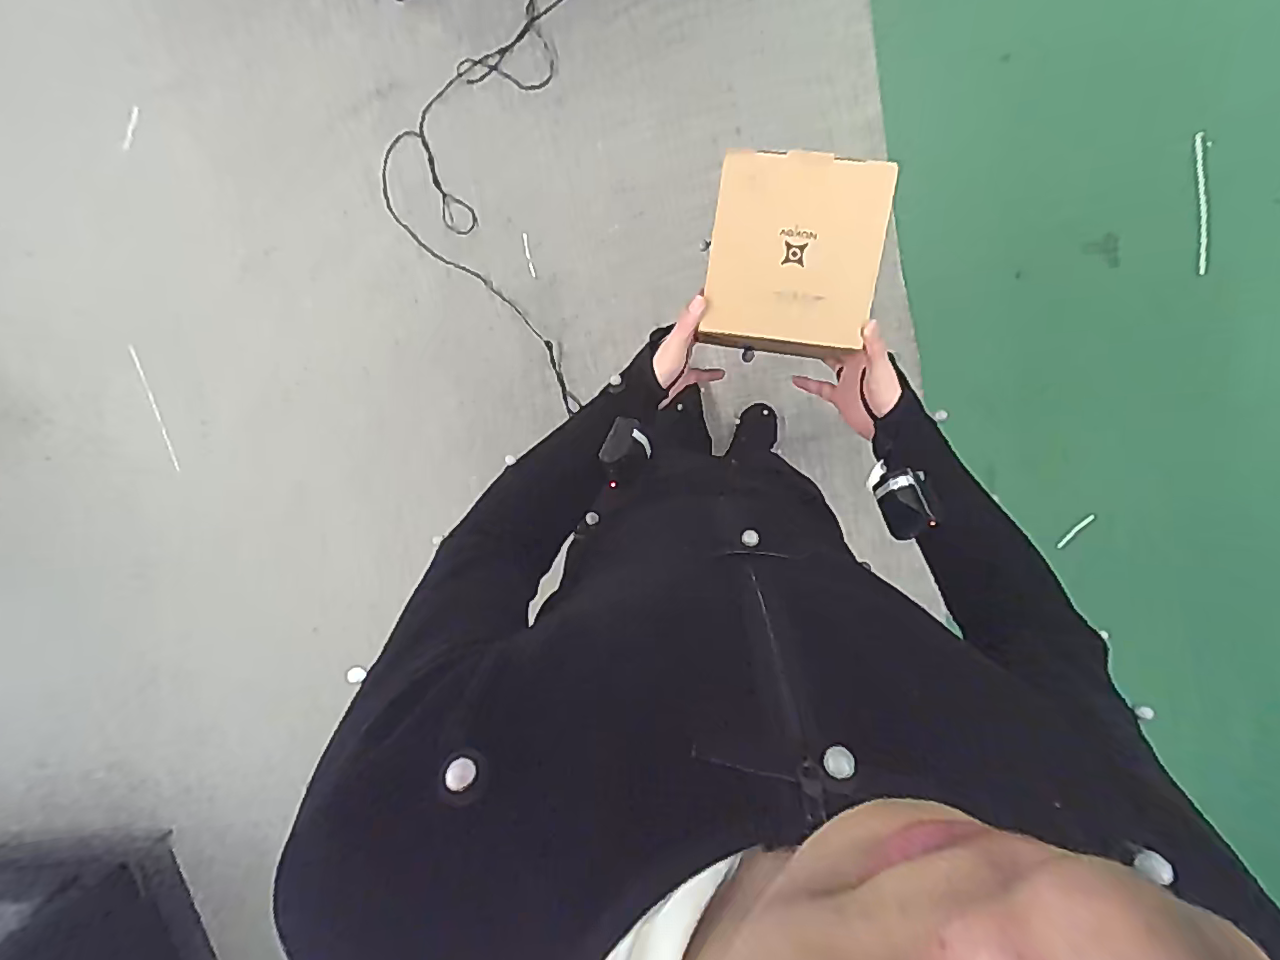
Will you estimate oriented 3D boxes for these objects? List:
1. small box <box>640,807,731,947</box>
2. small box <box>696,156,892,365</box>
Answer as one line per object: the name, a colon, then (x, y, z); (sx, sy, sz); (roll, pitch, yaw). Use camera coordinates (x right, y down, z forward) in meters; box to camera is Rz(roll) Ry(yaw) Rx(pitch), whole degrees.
small box: (0.104, 0.839, 1.155); (0.168, 0.176, 0.179); (-6, 101, 11)
small box: (0.156, -0.231, 0.611); (0.168, 0.176, 0.179); (9, 101, 4)
